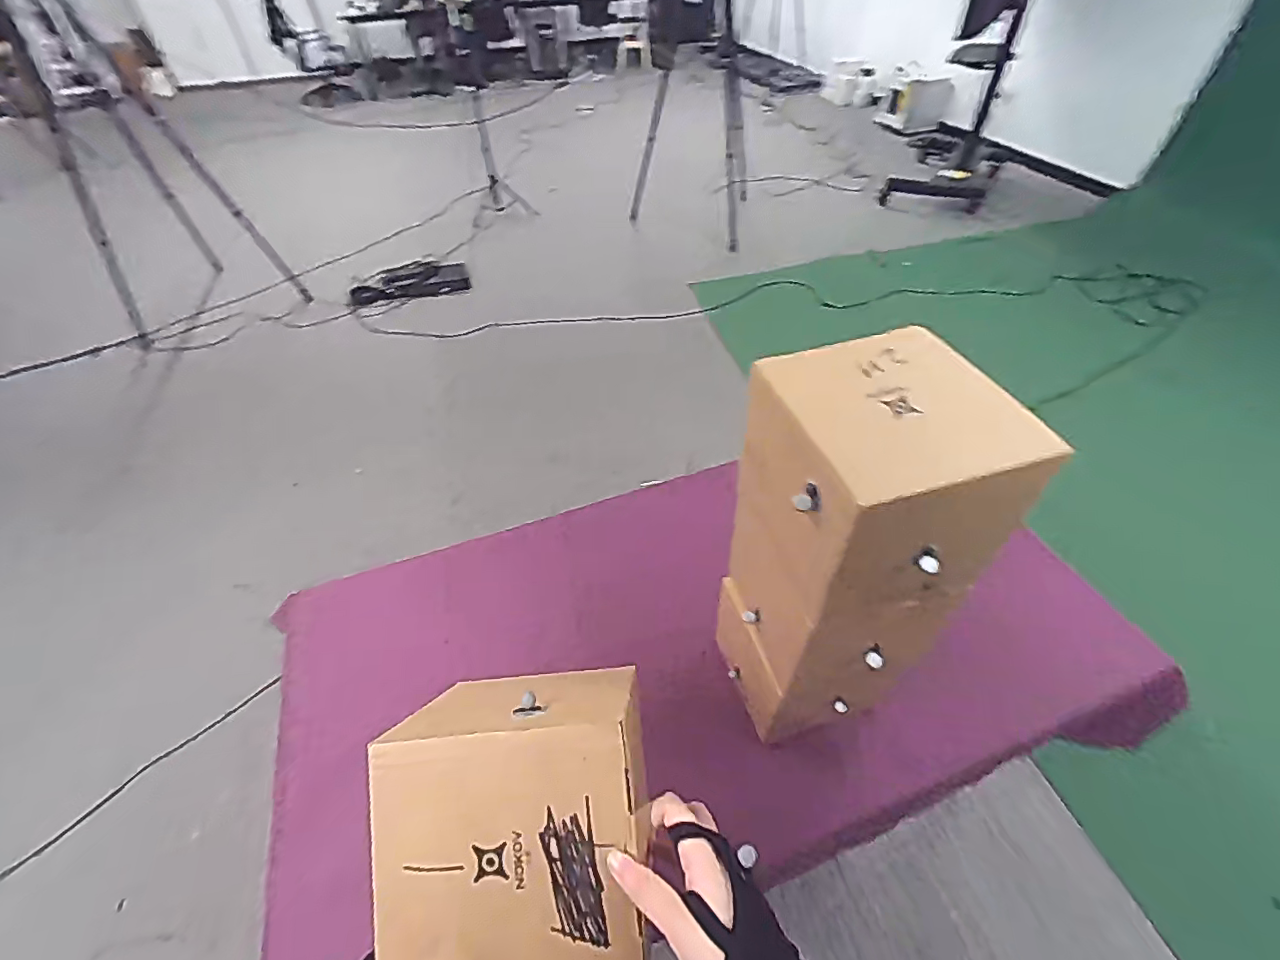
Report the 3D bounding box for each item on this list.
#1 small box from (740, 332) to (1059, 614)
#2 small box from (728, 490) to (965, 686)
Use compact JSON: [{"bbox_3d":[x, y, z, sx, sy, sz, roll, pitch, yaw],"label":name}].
[{"bbox_3d":[0.199,-0.001,0.480,0.168,0.176,0.179,-13,47,-9],"label":"small box"},{"bbox_3d":[0.207,0.110,0.603,0.168,0.176,0.179,-12,48,-8],"label":"small box"}]
